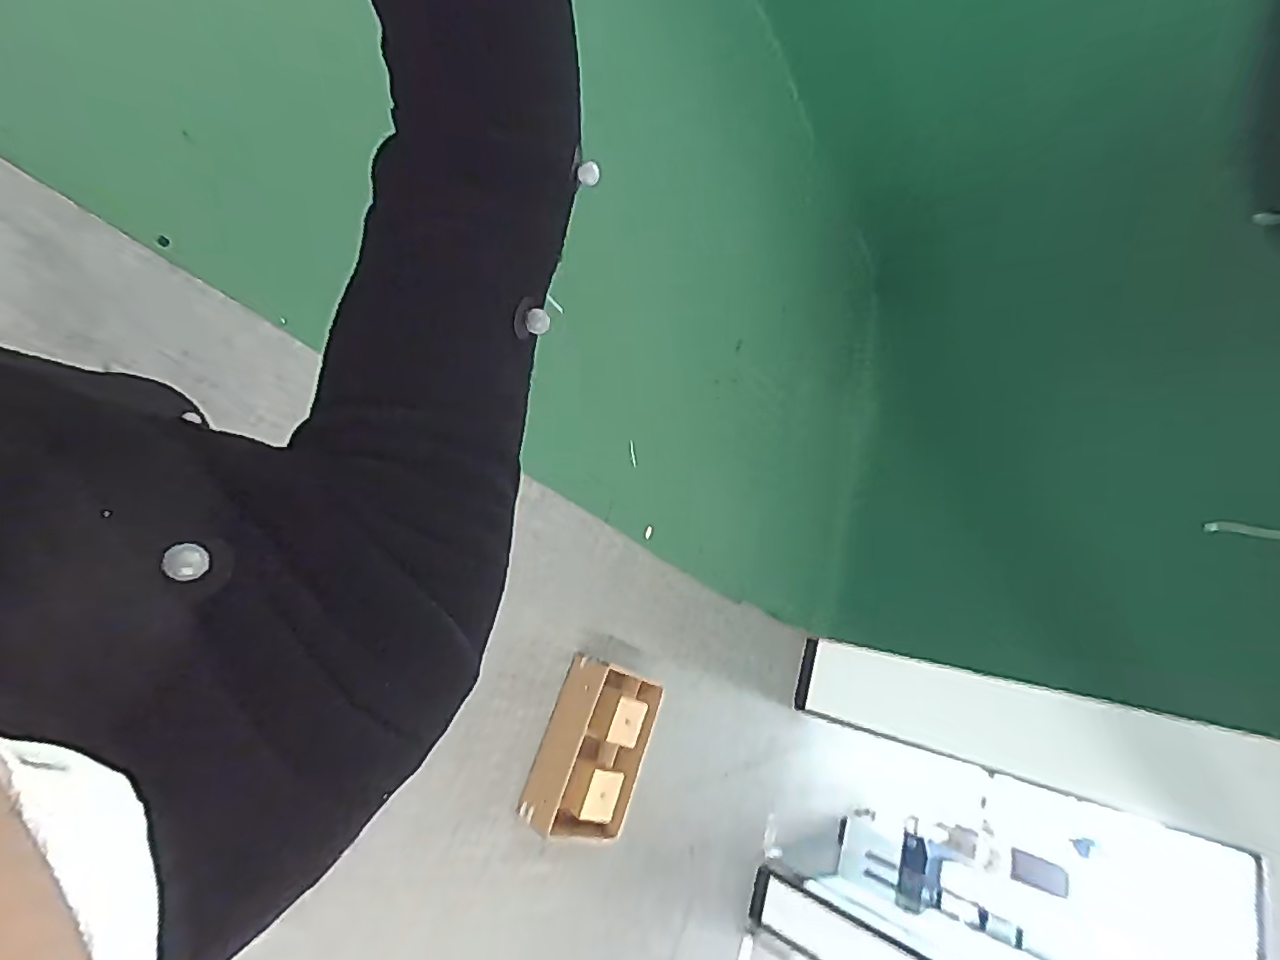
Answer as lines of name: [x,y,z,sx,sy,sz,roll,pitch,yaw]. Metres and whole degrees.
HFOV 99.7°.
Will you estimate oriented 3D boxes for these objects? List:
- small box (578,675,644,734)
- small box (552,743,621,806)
small box: [-0.121,0.902,2.182,0.179,0.176,0.168,38,66,-41]
small box: [-0.210,1.140,2.098,0.179,0.176,0.168,37,65,-42]
